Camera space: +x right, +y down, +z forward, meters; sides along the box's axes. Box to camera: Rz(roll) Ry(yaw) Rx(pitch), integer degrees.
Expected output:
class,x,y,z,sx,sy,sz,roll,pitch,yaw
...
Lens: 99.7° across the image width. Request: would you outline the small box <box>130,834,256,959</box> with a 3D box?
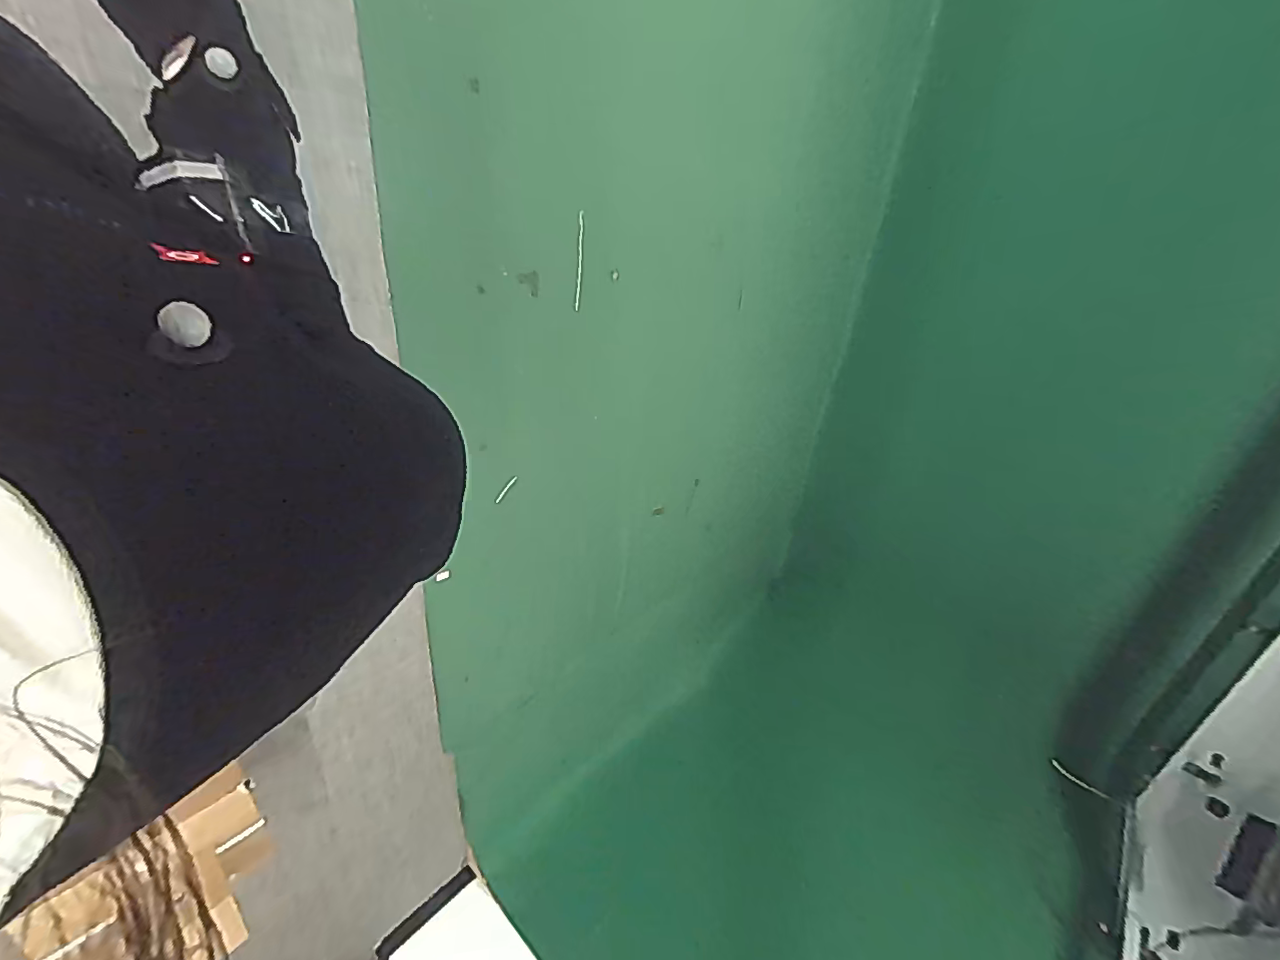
class,x,y,z,sx,sy,sz,roll,pitch,yaw
small box,-1.015,0.964,1.224,0.179,0.176,0.168,-24,125,-41
